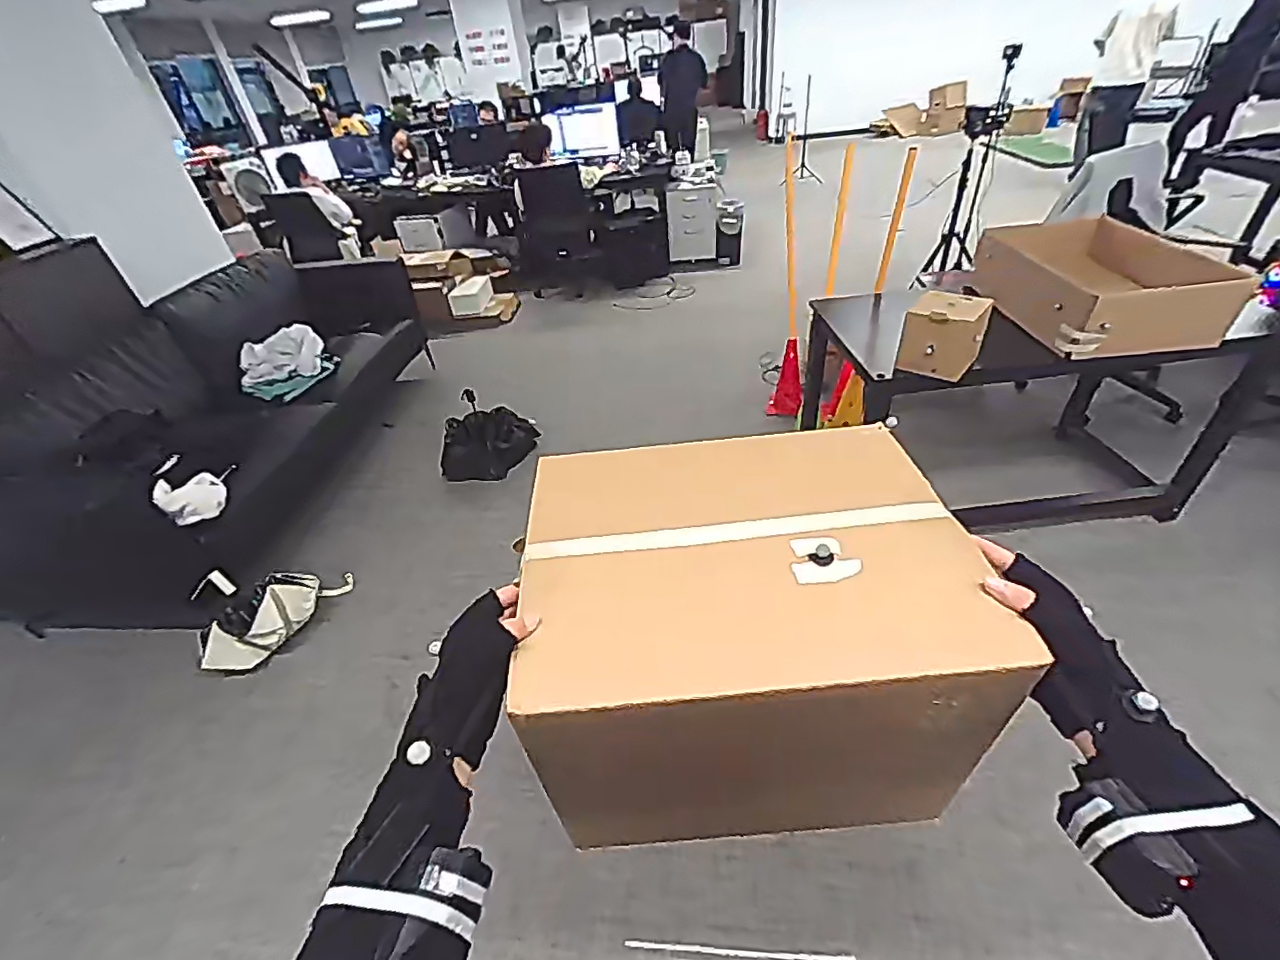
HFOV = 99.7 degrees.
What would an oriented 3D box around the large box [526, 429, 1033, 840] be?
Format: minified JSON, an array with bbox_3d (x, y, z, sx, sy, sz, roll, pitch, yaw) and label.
[{"bbox_3d":[0.107,0.170,0.620,0.408,0.320,0.320,-6,40,0],"label":"large box"}]
